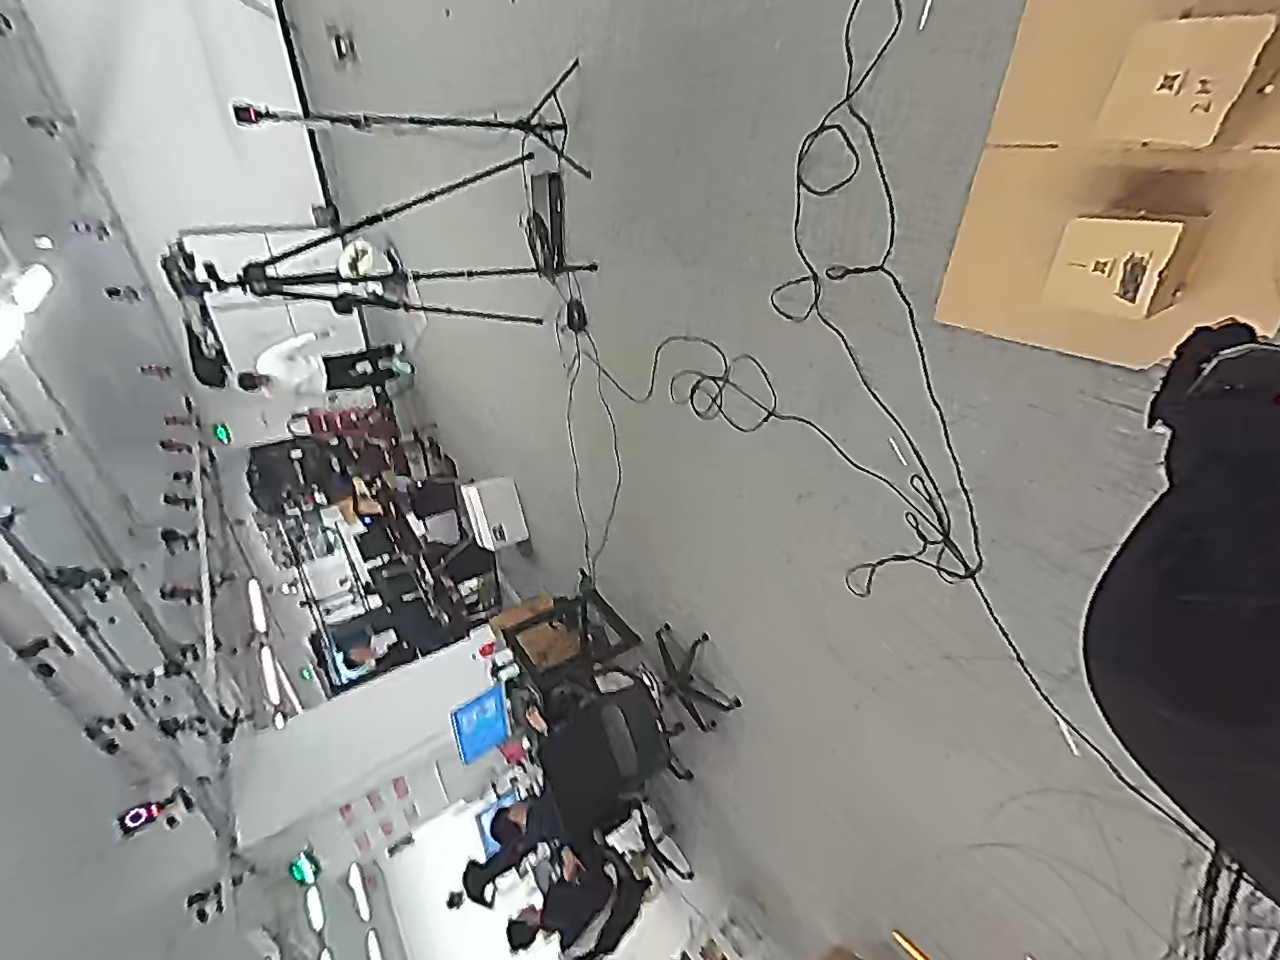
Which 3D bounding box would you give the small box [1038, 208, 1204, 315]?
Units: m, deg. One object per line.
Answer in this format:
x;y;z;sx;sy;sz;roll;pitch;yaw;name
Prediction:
0.932;-0.431;1.051;0.179;0.176;0.168;34;135;45;small box

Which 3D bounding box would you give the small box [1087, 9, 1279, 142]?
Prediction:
0.927;-0.678;0.918;0.179;0.176;0.168;39;139;40;small box
